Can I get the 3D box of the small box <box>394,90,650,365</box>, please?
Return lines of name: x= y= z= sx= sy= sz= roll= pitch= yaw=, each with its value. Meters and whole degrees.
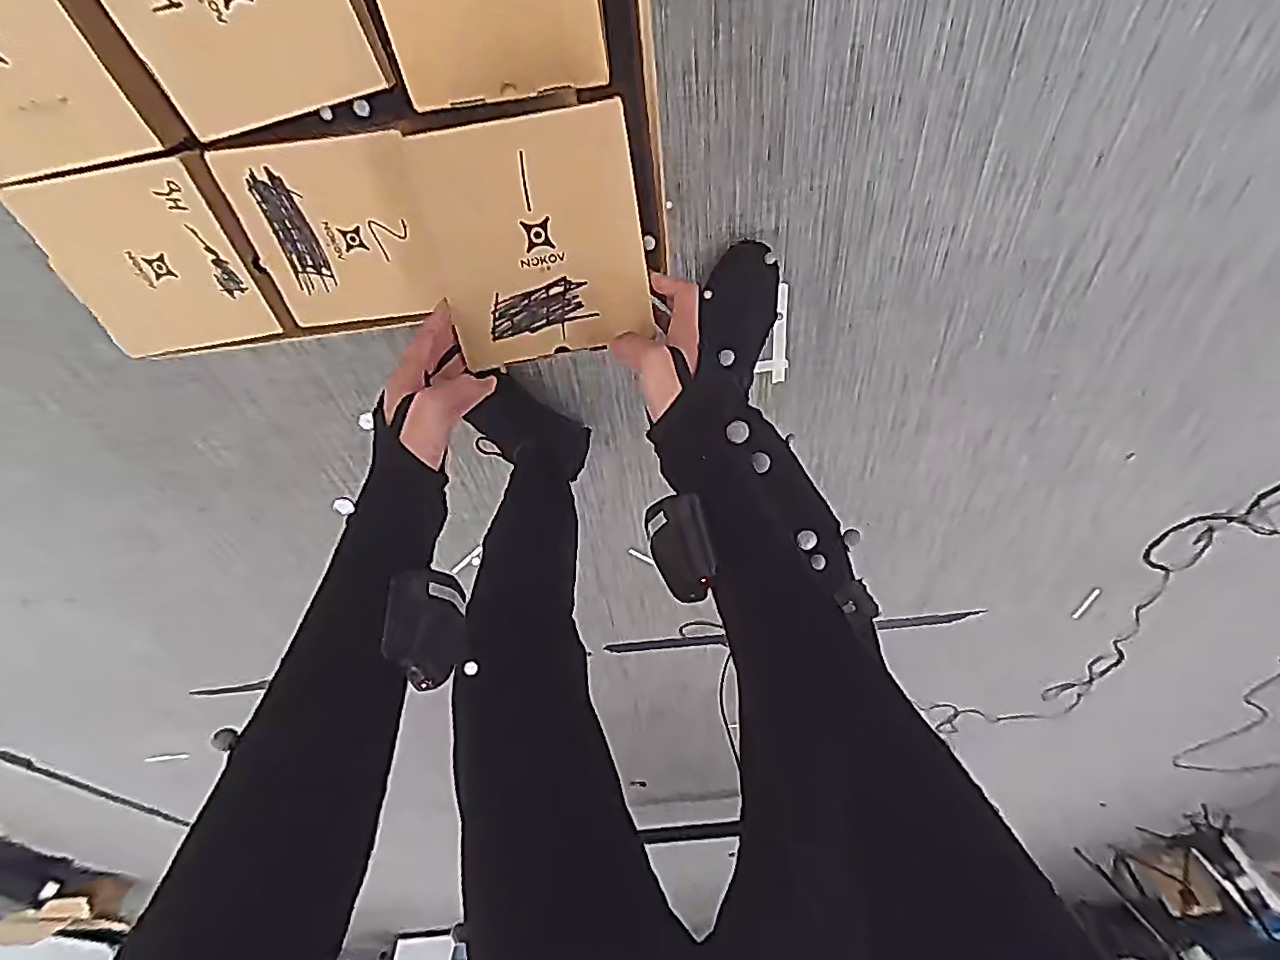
small box: x=-0.087 y=-0.221 z=0.489 sx=0.168 sy=0.176 sz=0.179 roll=-10 pitch=116 yaw=0
